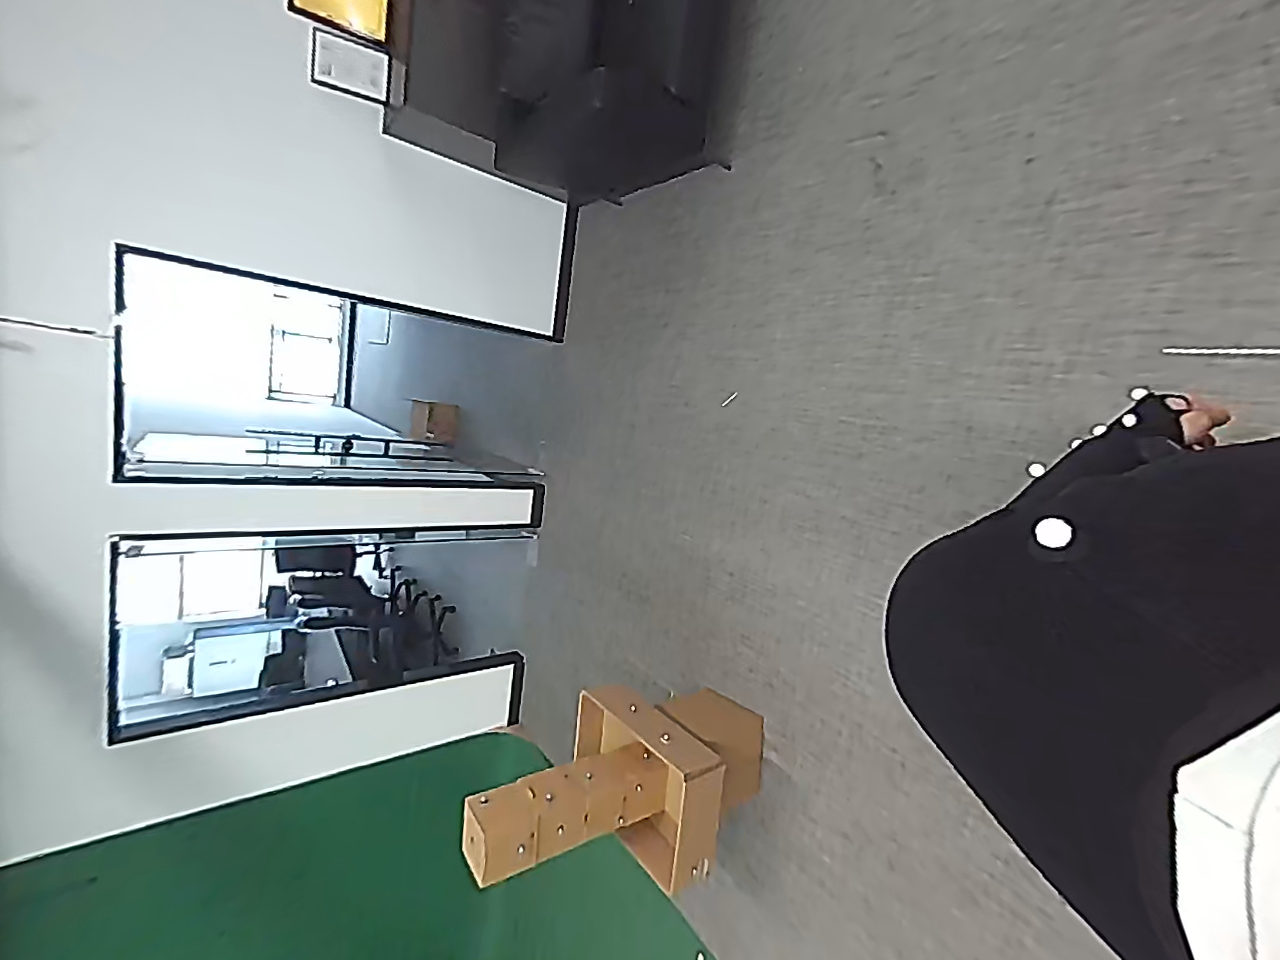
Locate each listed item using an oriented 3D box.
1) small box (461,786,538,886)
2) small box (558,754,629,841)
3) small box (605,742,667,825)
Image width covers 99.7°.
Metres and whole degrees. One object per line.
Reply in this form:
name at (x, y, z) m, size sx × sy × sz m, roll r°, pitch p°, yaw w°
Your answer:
small box at (-0.421, 1.051, 1.619) m, size 0.179 × 0.176 × 0.168 m, roll 11°, pitch 98°, yaw 53°
small box at (-0.155, 1.053, 1.812) m, size 0.179 × 0.176 × 0.168 m, roll 14°, pitch 99°, yaw 54°
small box at (-0.020, 1.060, 1.906) m, size 0.168 × 0.176 × 0.179 m, roll 12°, pitch 98°, yaw 53°
